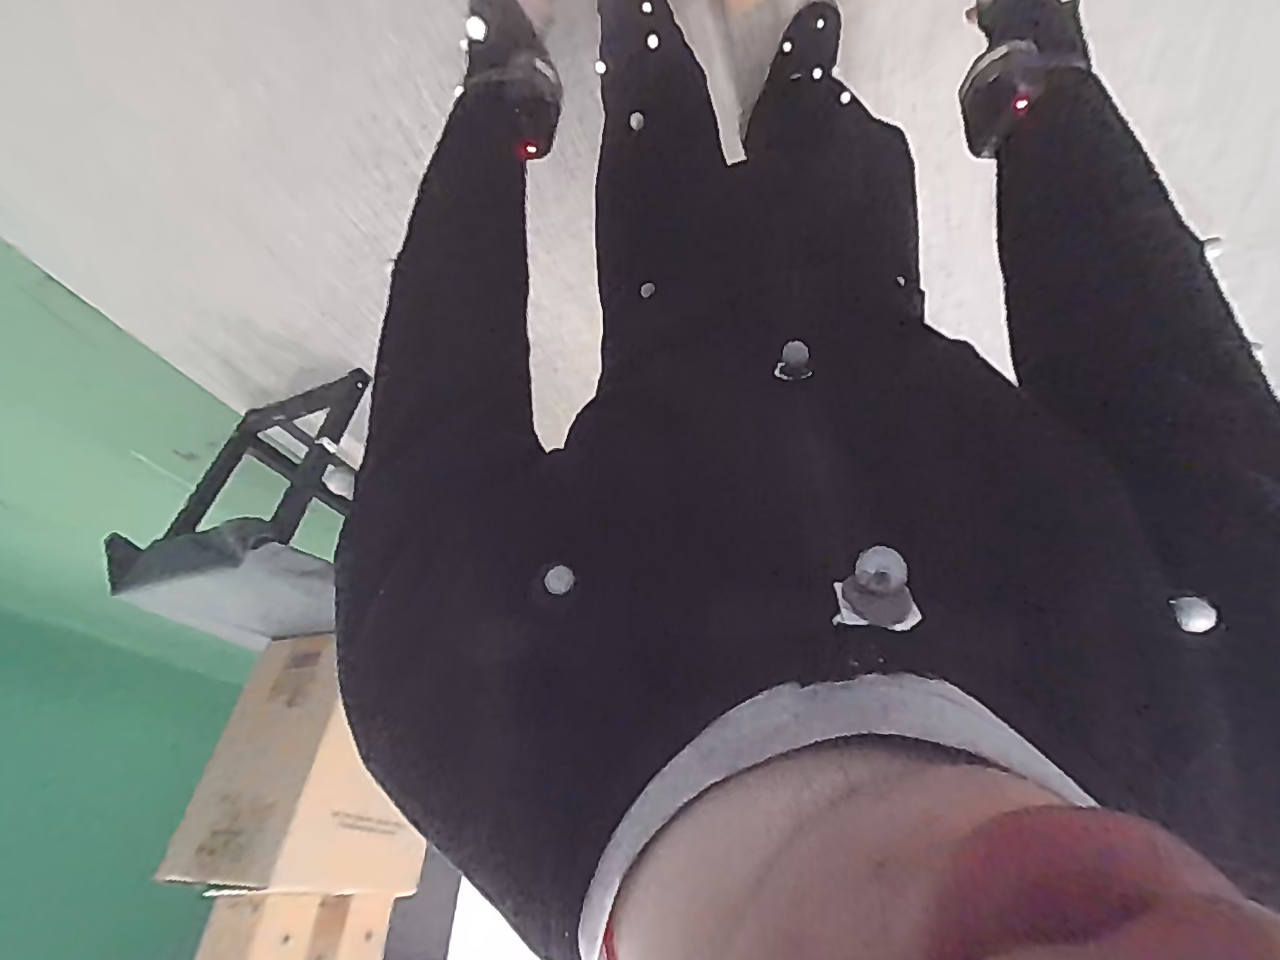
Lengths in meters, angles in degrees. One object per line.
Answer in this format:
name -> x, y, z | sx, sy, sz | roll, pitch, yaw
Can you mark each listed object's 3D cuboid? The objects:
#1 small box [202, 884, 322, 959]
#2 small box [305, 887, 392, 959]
small box -> -0.963, 1.144, 1.379 | 0.168, 0.176, 0.179 | -13, 141, 14
small box -> -0.852, 1.286, 1.564 | 0.168, 0.176, 0.179 | -14, 140, 15
